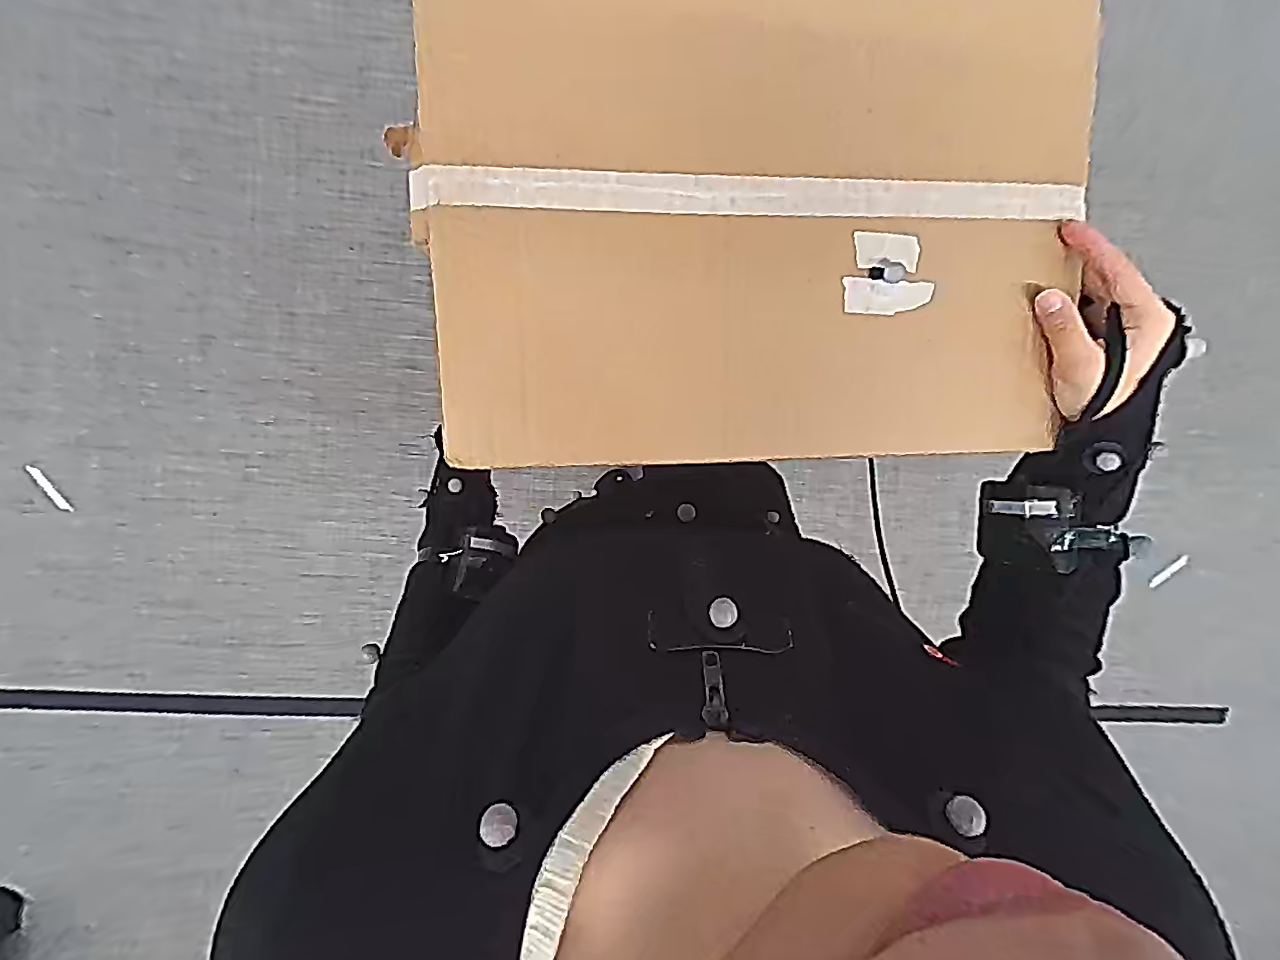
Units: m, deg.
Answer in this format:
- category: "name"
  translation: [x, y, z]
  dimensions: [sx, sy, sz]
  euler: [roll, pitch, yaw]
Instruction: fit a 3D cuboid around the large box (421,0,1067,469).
- category: "large box"
  translation: [0.058, -0.189, 0.480]
  dimensions: [0.408, 0.320, 0.320]
  euler: [-3, 99, -8]
